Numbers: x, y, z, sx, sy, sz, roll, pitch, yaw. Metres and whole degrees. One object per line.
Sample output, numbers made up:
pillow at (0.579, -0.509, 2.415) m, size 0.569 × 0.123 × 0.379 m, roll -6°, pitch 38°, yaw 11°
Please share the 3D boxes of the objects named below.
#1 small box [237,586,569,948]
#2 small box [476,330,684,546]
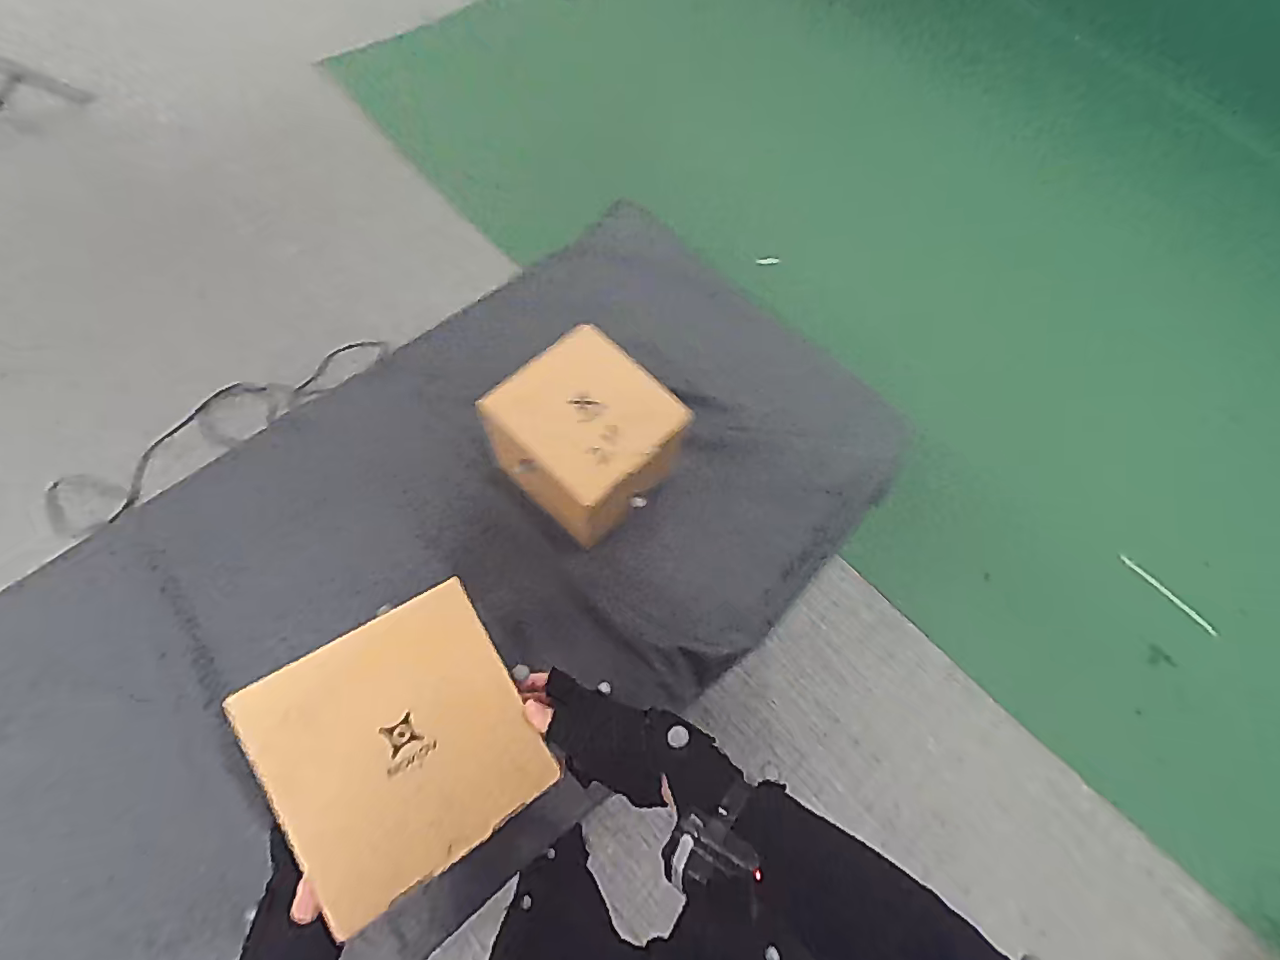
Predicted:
small box at (-0.185, 0.211, 0.451) m, size 0.168 × 0.176 × 0.179 m, roll -28°, pitch 85°, yaw -24°
small box at (-0.075, -0.044, 0.677) m, size 0.179 × 0.176 × 0.168 m, roll 43°, pitch 69°, yaw 11°
